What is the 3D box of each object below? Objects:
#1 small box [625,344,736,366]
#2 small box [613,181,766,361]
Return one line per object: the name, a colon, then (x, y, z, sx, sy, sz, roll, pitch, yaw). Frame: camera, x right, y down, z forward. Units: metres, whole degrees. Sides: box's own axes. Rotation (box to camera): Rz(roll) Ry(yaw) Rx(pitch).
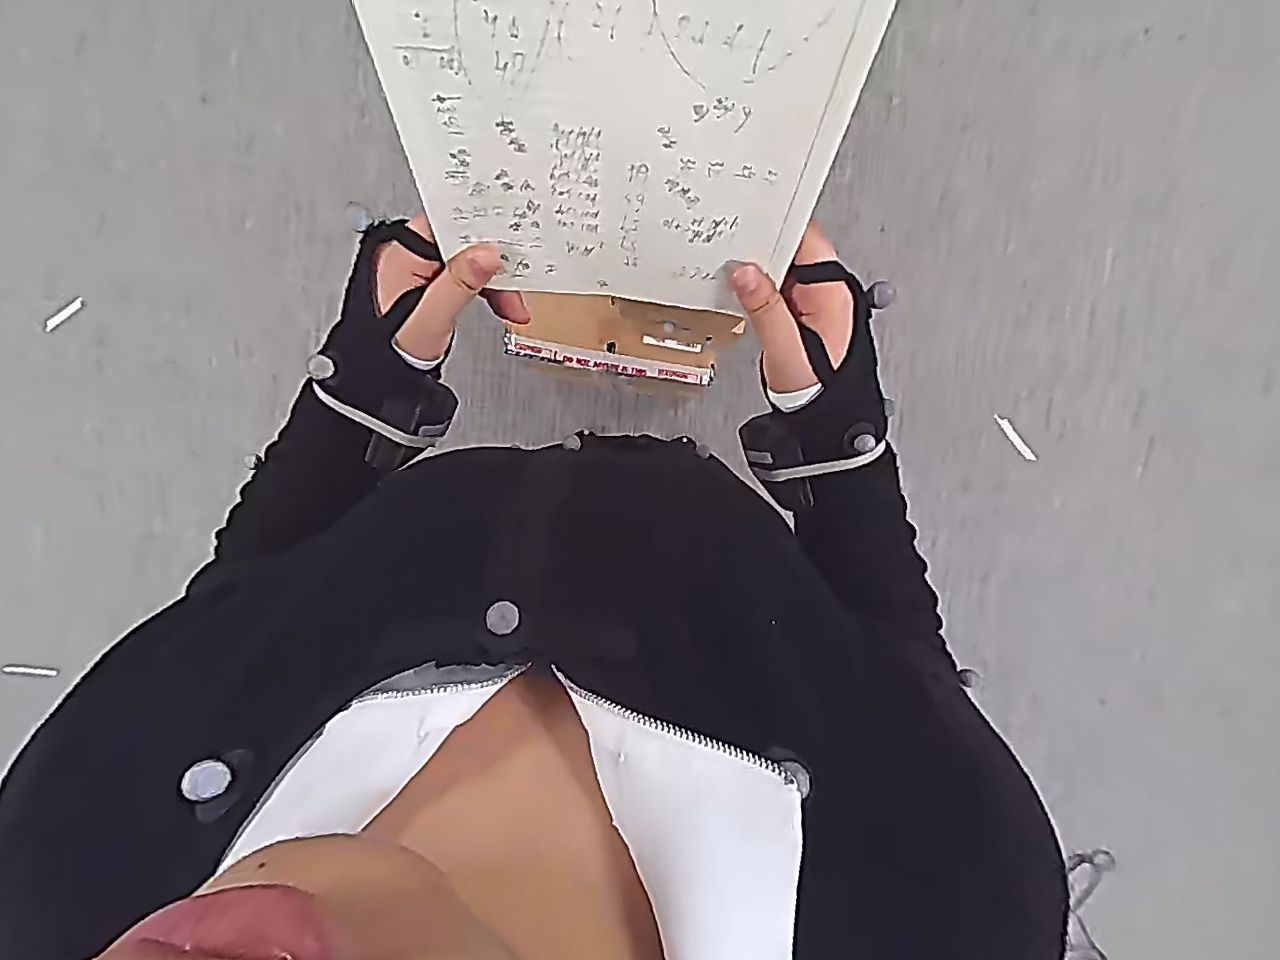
small box: (0.071, -0.290, 0.914, 0.179, 0.176, 0.168, 8, 95, -2)
small box: (0.057, -0.274, 0.750, 0.168, 0.176, 0.179, 11, 96, -3)
